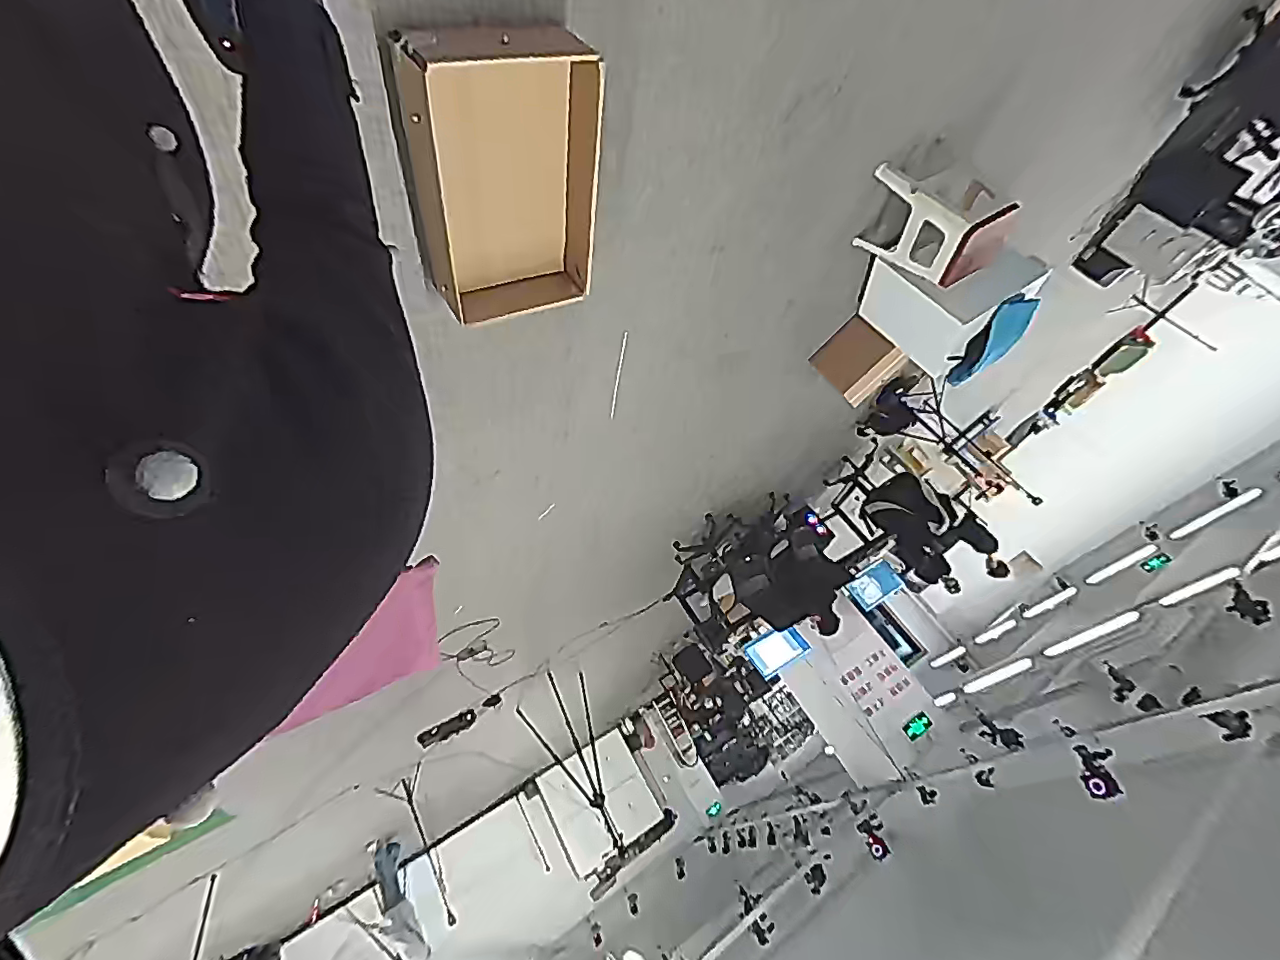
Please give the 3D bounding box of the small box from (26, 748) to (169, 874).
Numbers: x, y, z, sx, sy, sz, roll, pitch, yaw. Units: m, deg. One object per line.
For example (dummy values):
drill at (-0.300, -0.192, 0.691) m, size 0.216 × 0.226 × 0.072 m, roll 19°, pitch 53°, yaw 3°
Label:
small box at (-1.162, 0.708, 1.164) m, size 0.168 × 0.176 × 0.179 m, roll -21°, pitch 151°, yaw -28°
